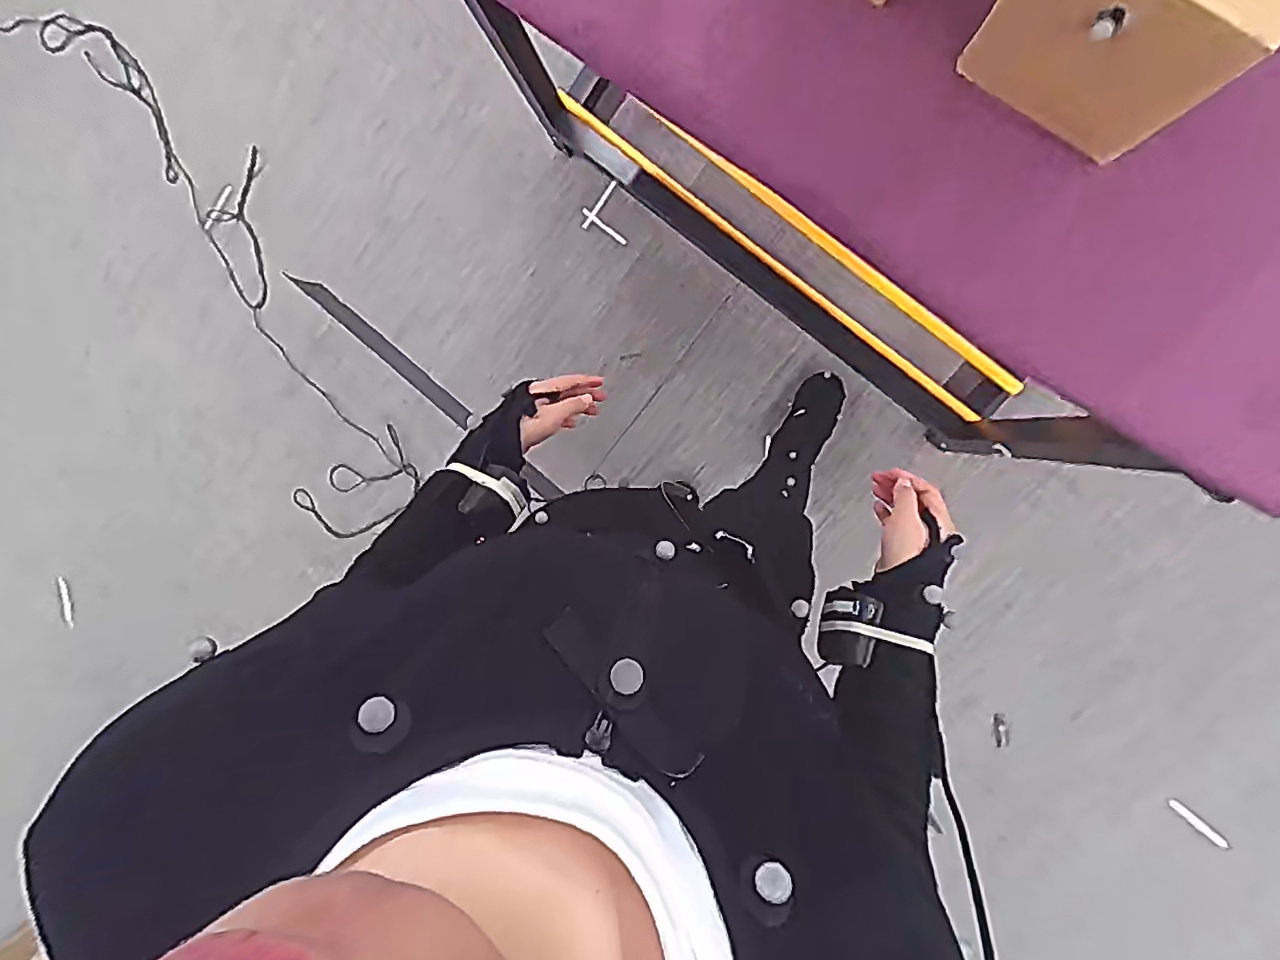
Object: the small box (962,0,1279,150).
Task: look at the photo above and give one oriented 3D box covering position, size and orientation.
[{"bbox_3d":[0.415,-0.411,0.438,0.179,0.176,0.168,37,100,5],"label":"small box"}]
